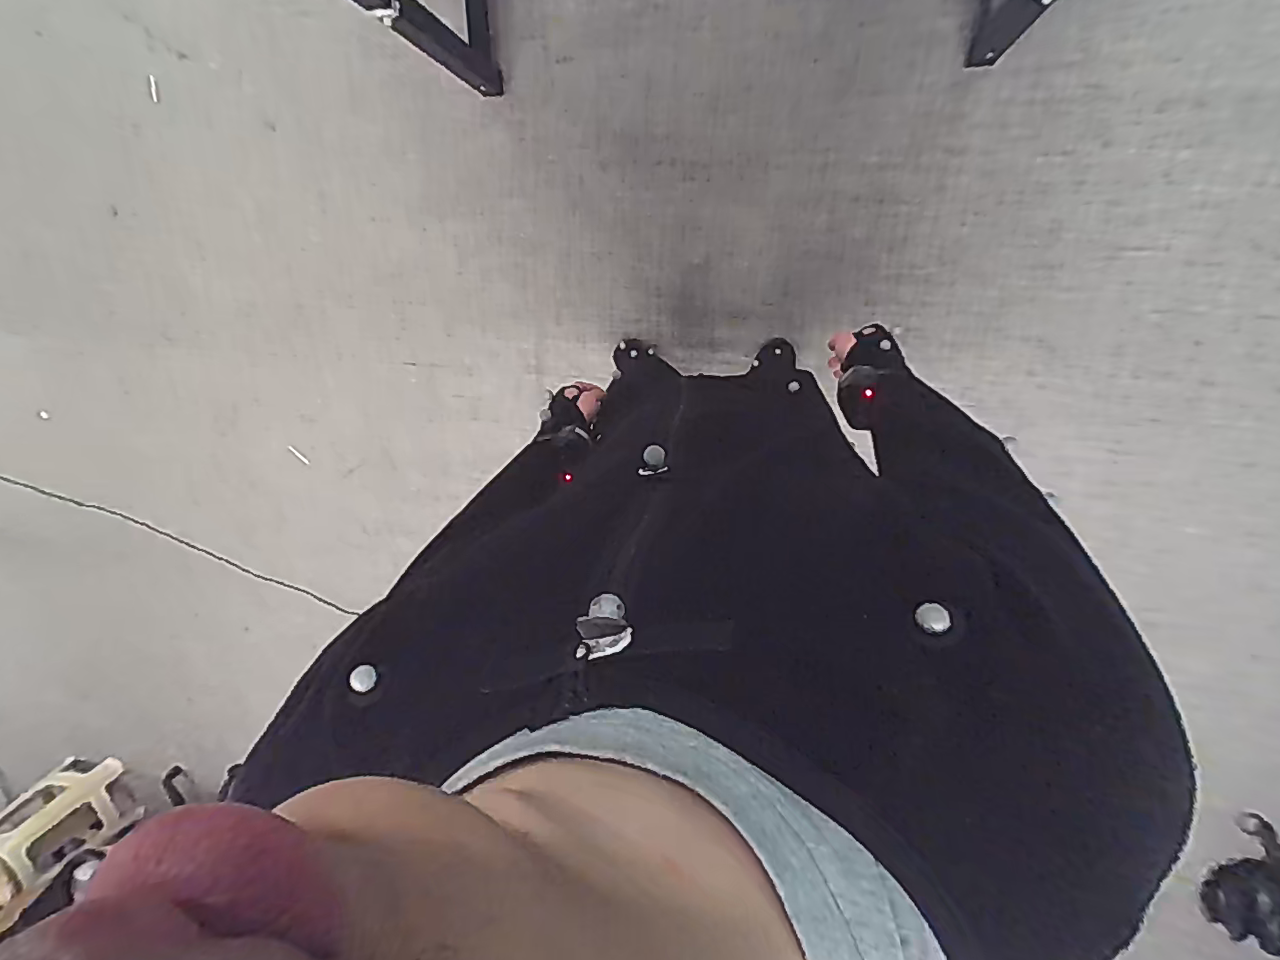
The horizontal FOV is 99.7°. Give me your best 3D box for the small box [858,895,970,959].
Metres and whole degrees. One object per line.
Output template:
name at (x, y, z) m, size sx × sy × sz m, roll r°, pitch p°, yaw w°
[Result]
small box at (0.554, 0.990, 1.093) m, size 0.179 × 0.176 × 0.168 m, roll 7°, pitch 110°, yaw 10°
